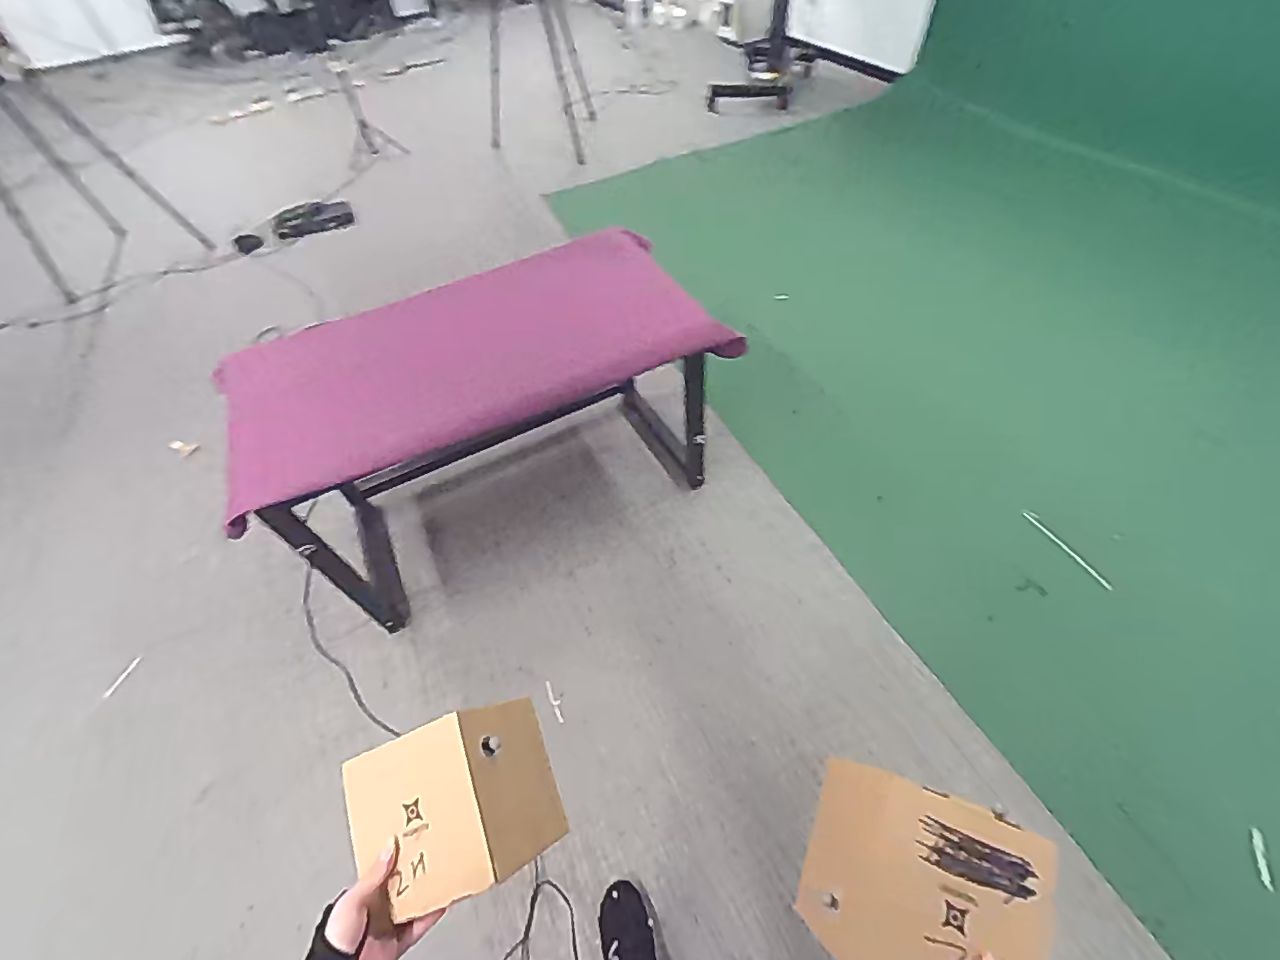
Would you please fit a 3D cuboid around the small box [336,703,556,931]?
[{"bbox_3d":[-0.228,0.386,0.657,0.168,0.176,0.179,-28,68,10],"label":"small box"}]
